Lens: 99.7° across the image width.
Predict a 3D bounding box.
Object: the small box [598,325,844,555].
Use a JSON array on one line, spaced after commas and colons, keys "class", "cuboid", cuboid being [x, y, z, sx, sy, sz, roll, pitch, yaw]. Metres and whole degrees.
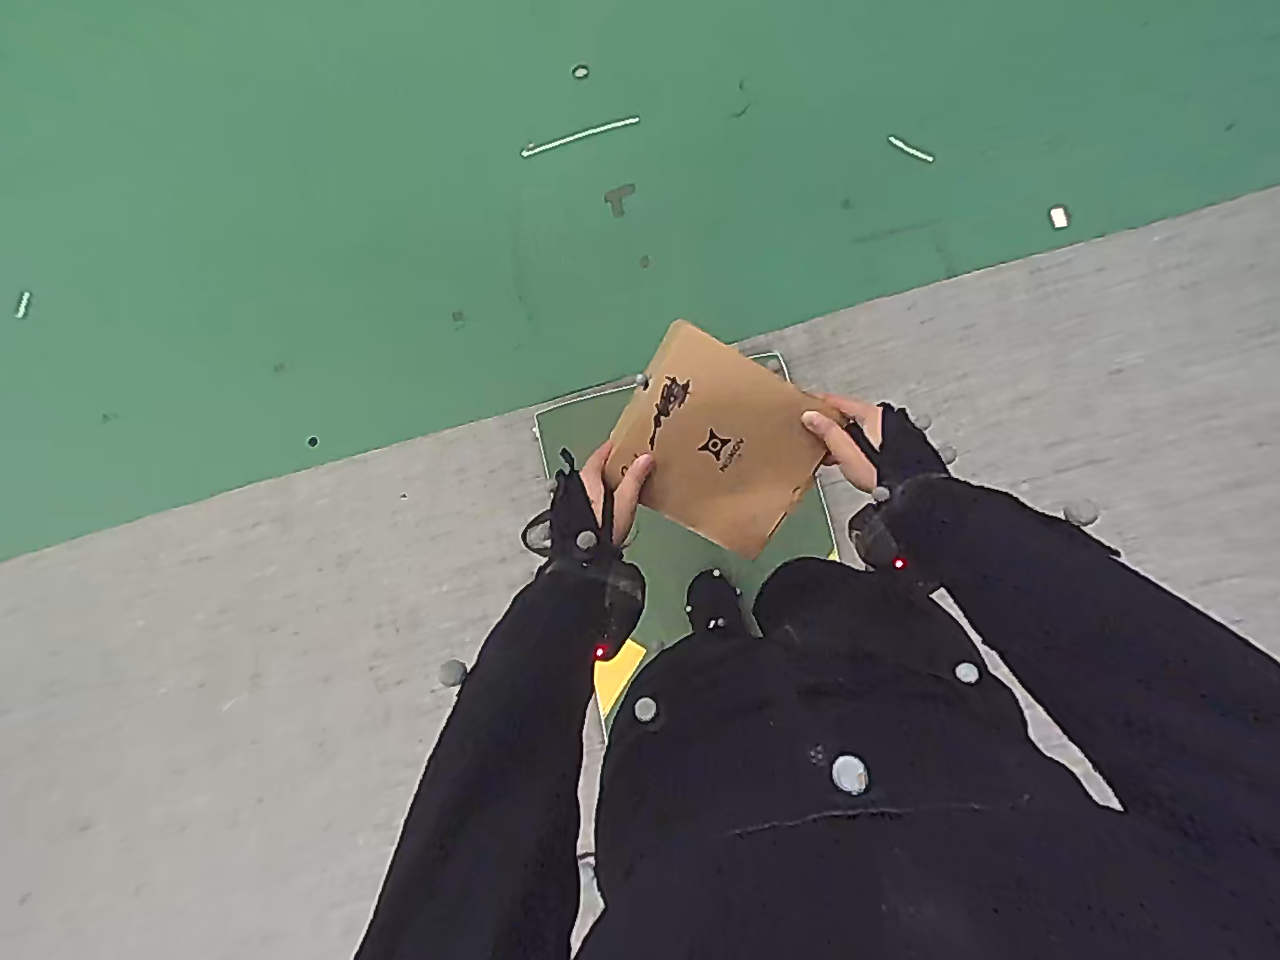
[{"class": "small box", "cuboid": [0.074, -0.055, 0.575, 0.179, 0.176, 0.168, 28, 105, -8]}]
